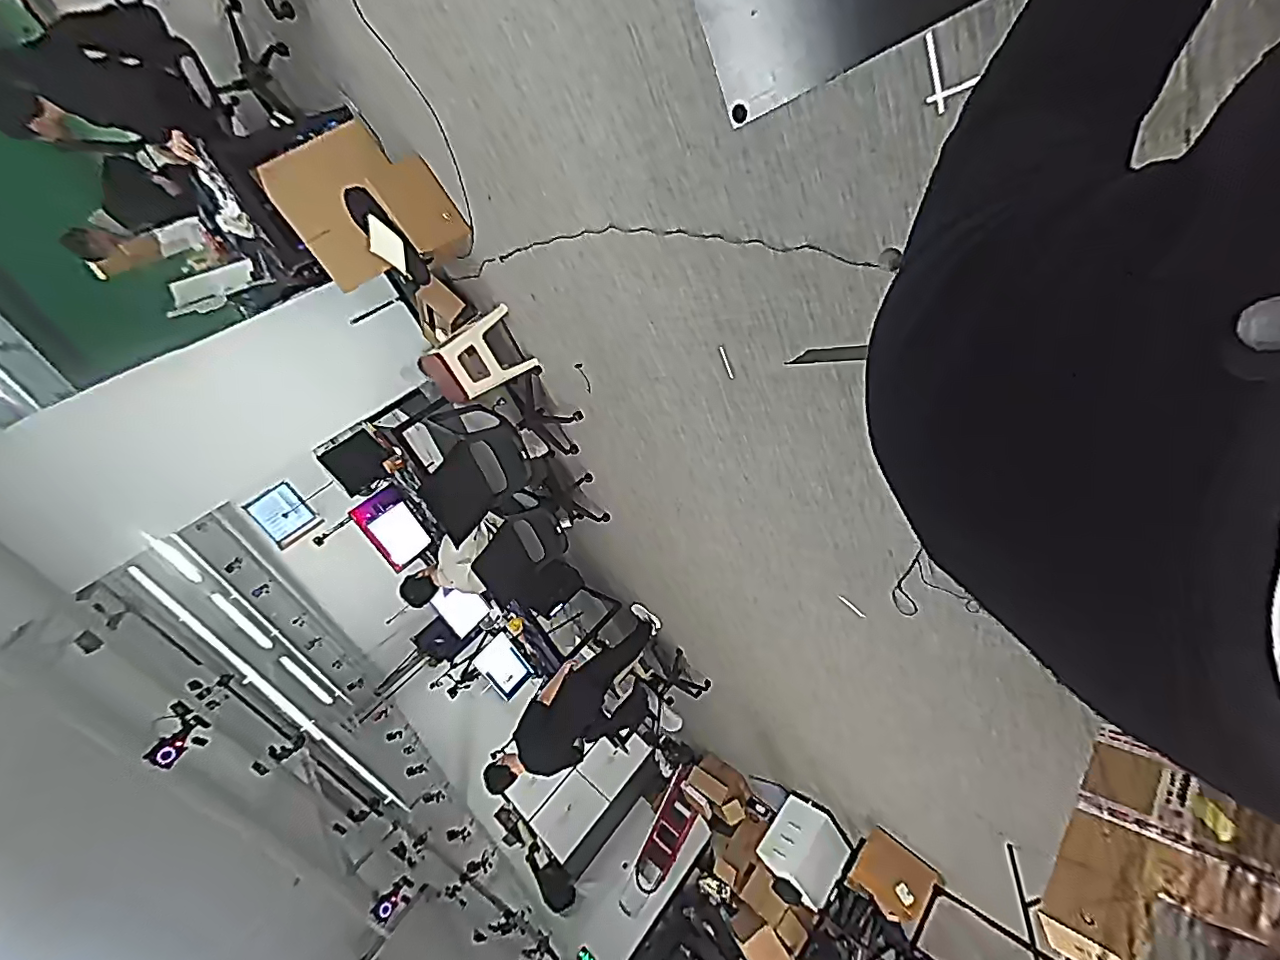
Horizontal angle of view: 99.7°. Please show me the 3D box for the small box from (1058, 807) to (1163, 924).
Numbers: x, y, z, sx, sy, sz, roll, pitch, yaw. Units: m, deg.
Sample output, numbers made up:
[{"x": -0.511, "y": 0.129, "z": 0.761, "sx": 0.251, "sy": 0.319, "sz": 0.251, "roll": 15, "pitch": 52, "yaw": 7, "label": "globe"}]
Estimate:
[{"x": 1.310, "y": 1.058, "z": 1.505, "sx": 0.179, "sy": 0.176, "sz": 0.168, "roll": 0, "pitch": 123, "yaw": 56, "label": "small box"}]

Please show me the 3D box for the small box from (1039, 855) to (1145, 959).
[{"x": 1.195, "y": 1.145, "z": 1.423, "sx": 0.179, "sy": 0.176, "sz": 0.168, "roll": 0, "pitch": 123, "yaw": 56, "label": "small box"}]
